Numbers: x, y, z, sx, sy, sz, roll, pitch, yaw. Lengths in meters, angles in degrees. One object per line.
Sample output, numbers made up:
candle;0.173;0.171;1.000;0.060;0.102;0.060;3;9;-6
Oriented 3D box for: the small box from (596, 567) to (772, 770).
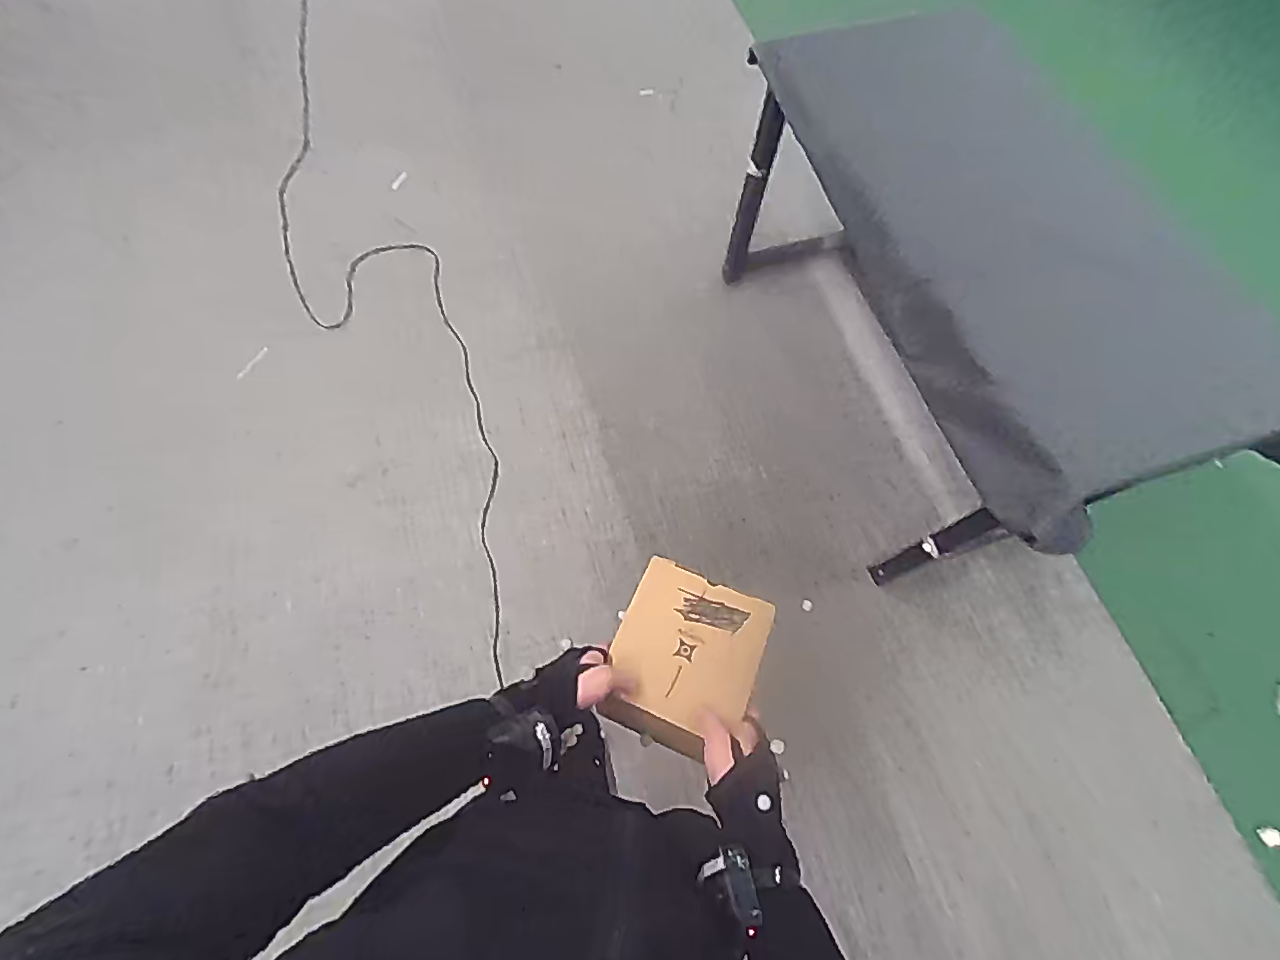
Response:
small box;0.051;0.246;0.696;0.168;0.176;0.179;20;58;10
